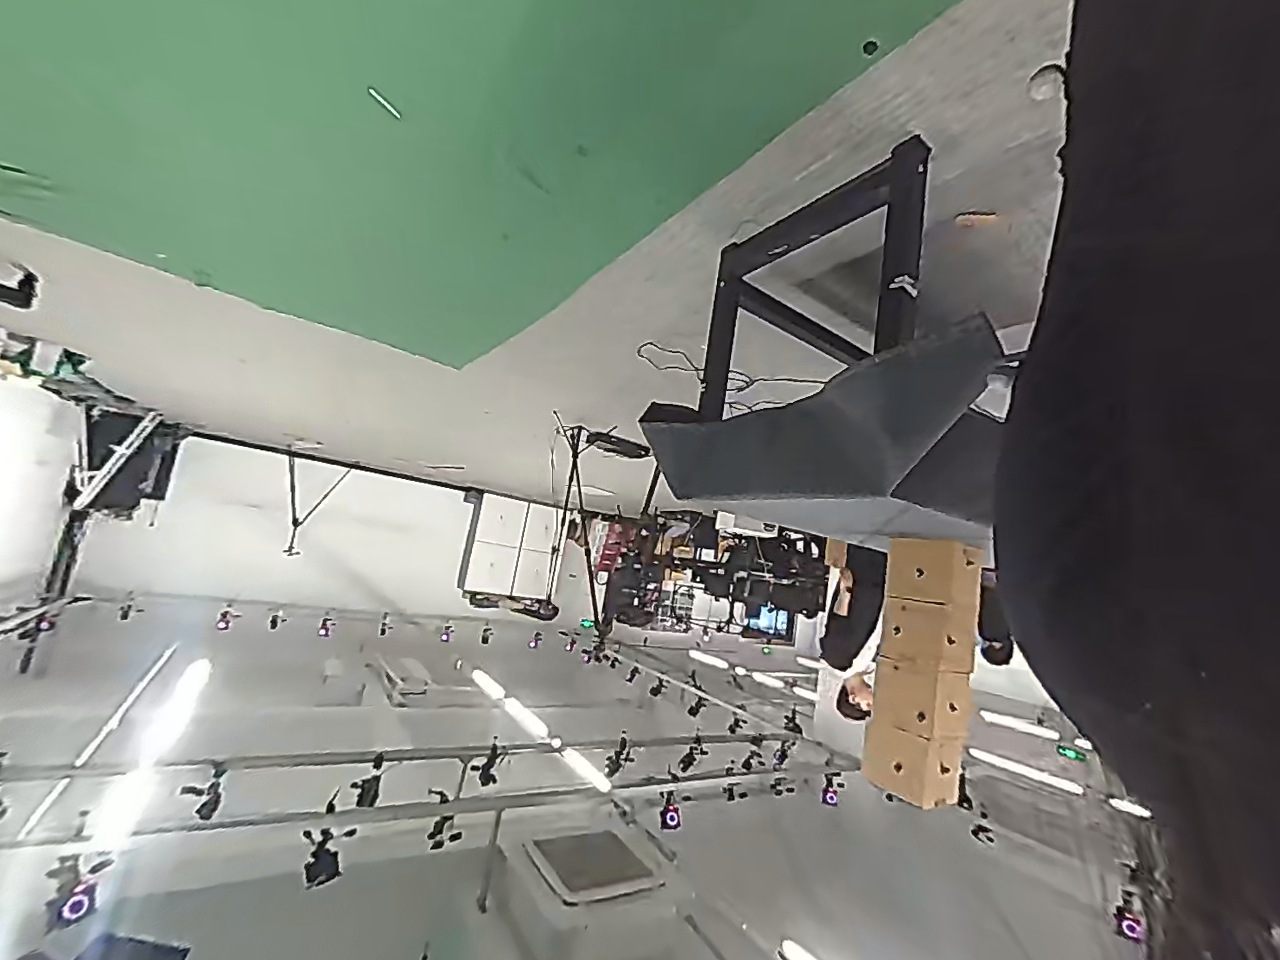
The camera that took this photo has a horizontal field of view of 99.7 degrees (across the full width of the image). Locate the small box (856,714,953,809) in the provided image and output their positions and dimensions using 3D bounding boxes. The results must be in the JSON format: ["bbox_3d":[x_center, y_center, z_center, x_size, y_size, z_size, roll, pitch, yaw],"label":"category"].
[{"bbox_3d":[0.699,0.732,1.425,0.168,0.176,0.179,15,170,-32],"label":"small box"}]

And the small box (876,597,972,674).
[{"bbox_3d":[0.764,0.413,1.455,0.179,0.176,0.168,15,171,-31],"label":"small box"}]

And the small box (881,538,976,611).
[{"bbox_3d":[0.790,0.253,1.475,0.168,0.176,0.179,15,169,-33],"label":"small box"}]
